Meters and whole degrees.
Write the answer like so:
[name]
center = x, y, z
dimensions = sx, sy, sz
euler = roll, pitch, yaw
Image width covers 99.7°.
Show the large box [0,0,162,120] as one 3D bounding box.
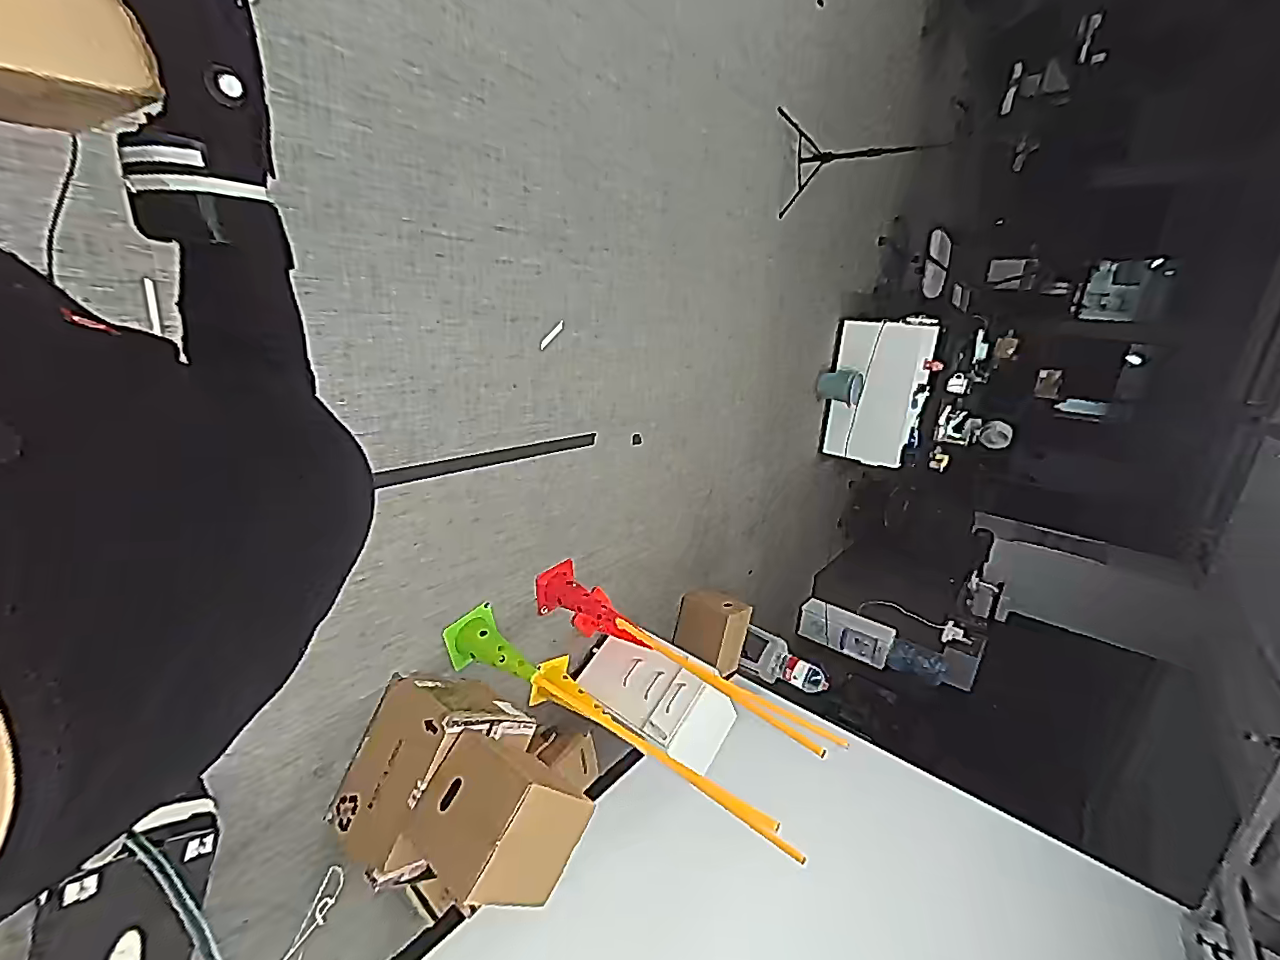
[large box]
center = -0.555, -0.395, 0.246
dimensions = 0.408, 0.320, 0.320
euler = -23, 126, -48
